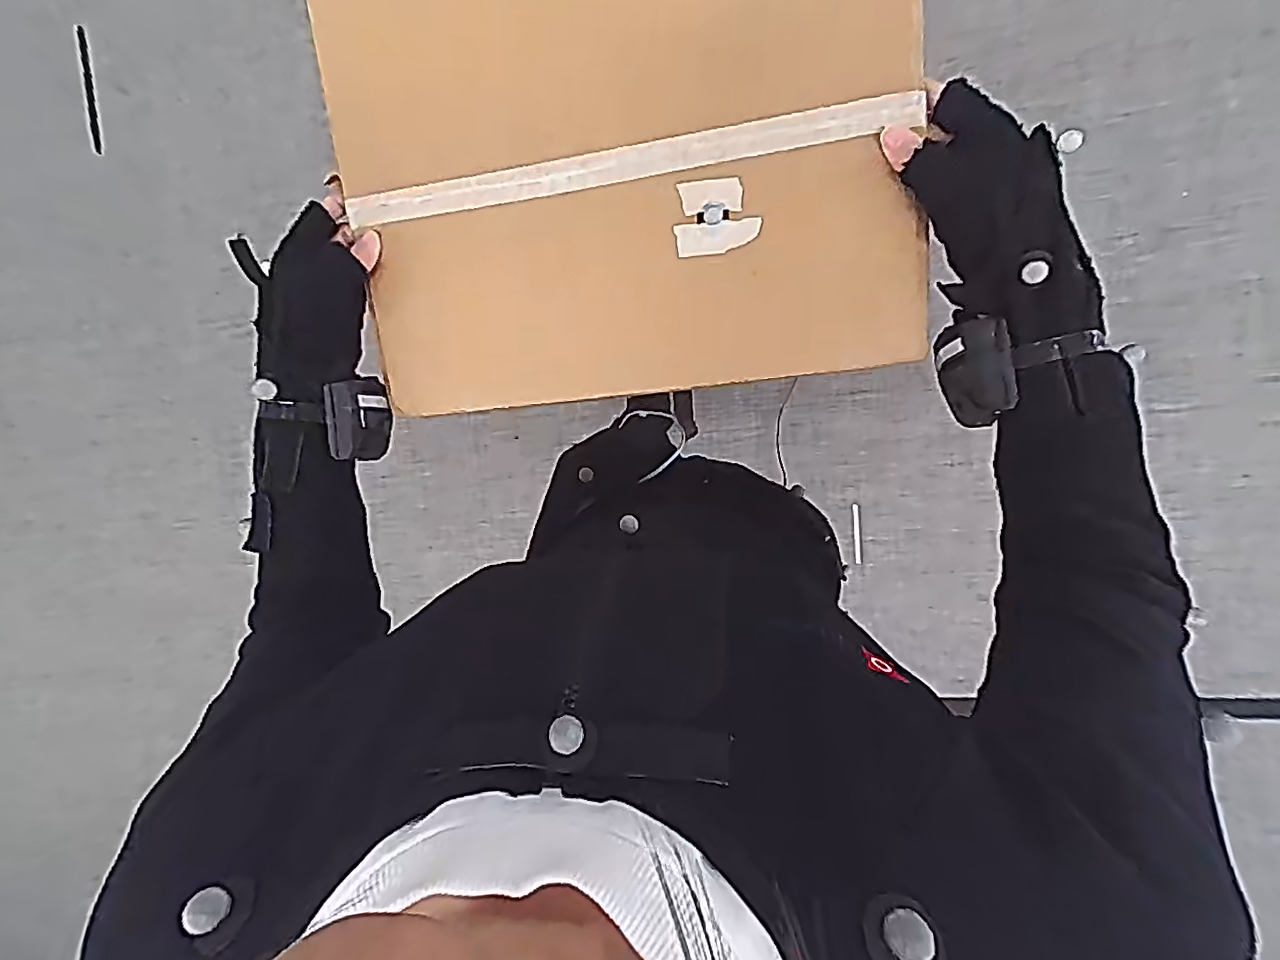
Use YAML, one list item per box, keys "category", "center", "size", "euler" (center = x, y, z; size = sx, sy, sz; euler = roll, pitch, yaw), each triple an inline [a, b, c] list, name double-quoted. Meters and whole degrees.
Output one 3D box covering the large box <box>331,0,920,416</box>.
- category: "large box"
  center: [0.004, -0.251, 0.534]
  size: [0.408, 0.320, 0.320]
  euler: [-6, 101, 9]
